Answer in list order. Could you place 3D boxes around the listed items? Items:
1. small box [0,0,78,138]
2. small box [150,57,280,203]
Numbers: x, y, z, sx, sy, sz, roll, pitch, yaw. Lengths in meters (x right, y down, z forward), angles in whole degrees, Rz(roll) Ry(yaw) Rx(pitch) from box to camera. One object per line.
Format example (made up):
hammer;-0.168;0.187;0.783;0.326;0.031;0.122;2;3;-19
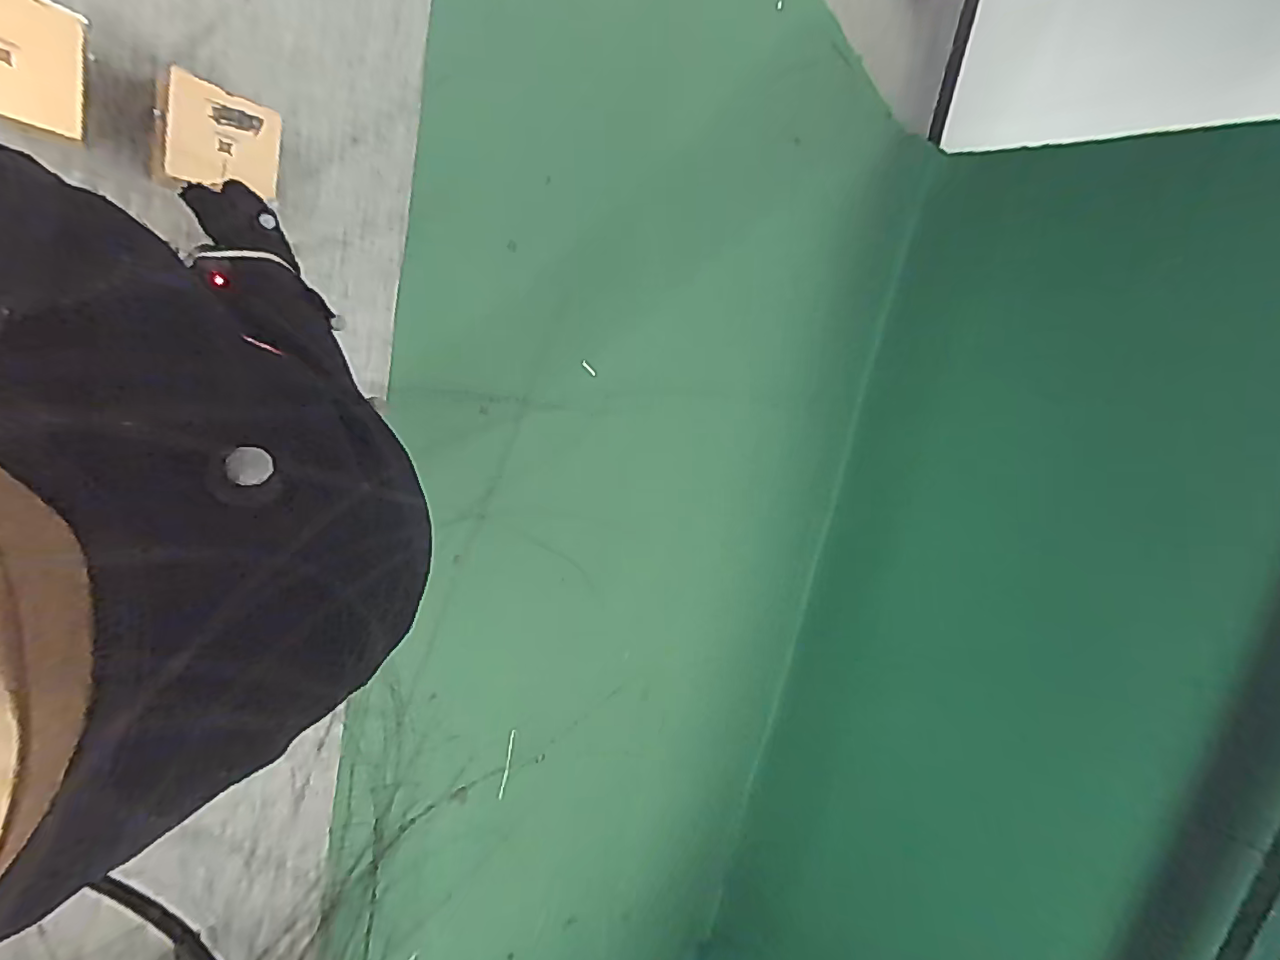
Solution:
small box;-0.983;-0.656;0.829;0.168;0.176;0.179;-1;107;-48
small box;-0.809;-0.648;1.027;0.168;0.176;0.179;0;107;-48
